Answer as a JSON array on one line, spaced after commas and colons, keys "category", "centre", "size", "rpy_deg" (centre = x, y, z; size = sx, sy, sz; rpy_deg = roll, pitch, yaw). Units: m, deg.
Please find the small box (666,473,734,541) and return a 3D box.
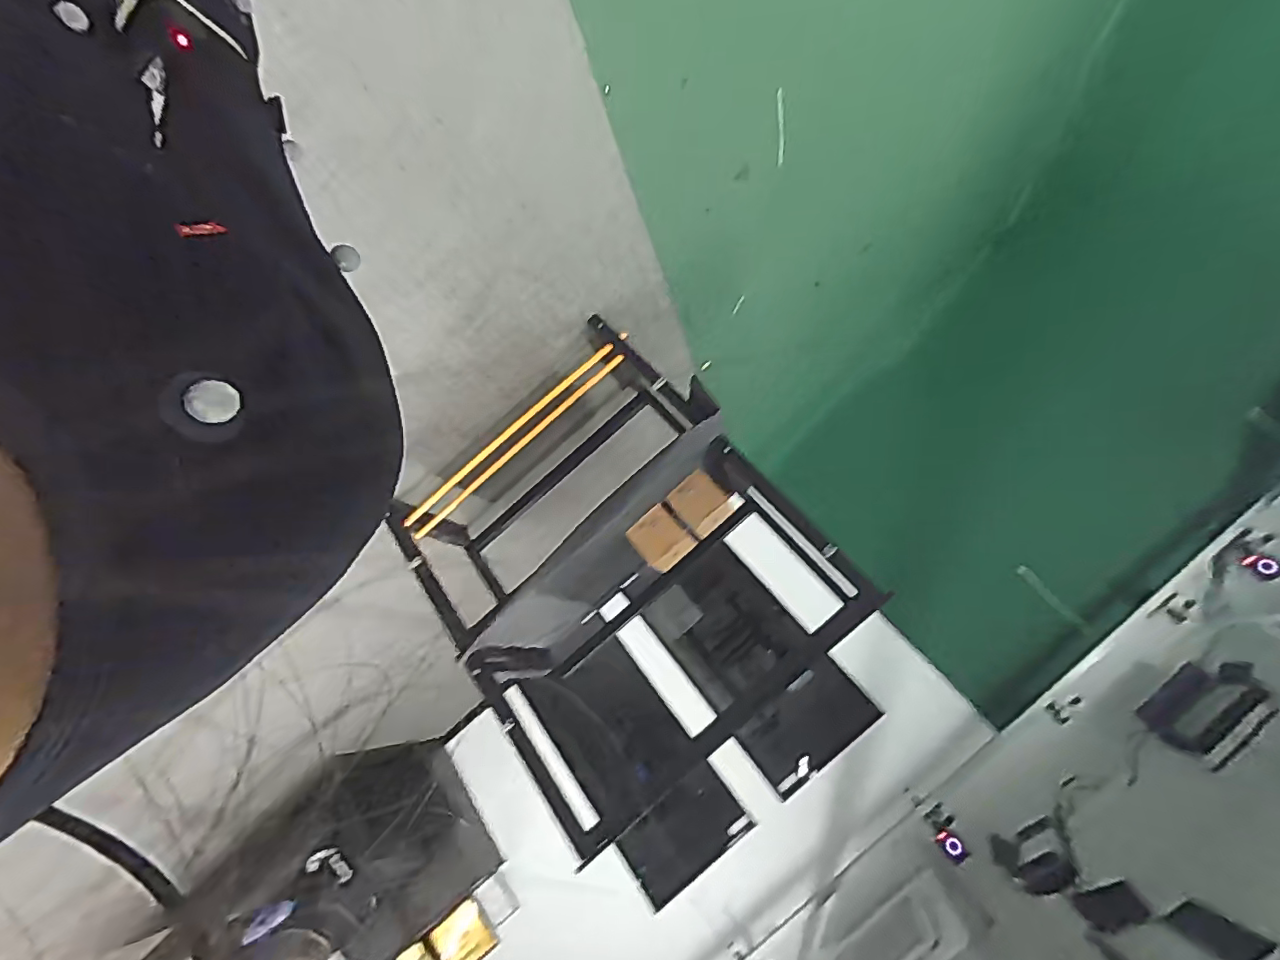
[{"category": "small box", "centre": [0.220, 0.098, 1.986], "size": [0.168, 0.176, 0.179], "rpy_deg": [-42, 156, 2]}]
